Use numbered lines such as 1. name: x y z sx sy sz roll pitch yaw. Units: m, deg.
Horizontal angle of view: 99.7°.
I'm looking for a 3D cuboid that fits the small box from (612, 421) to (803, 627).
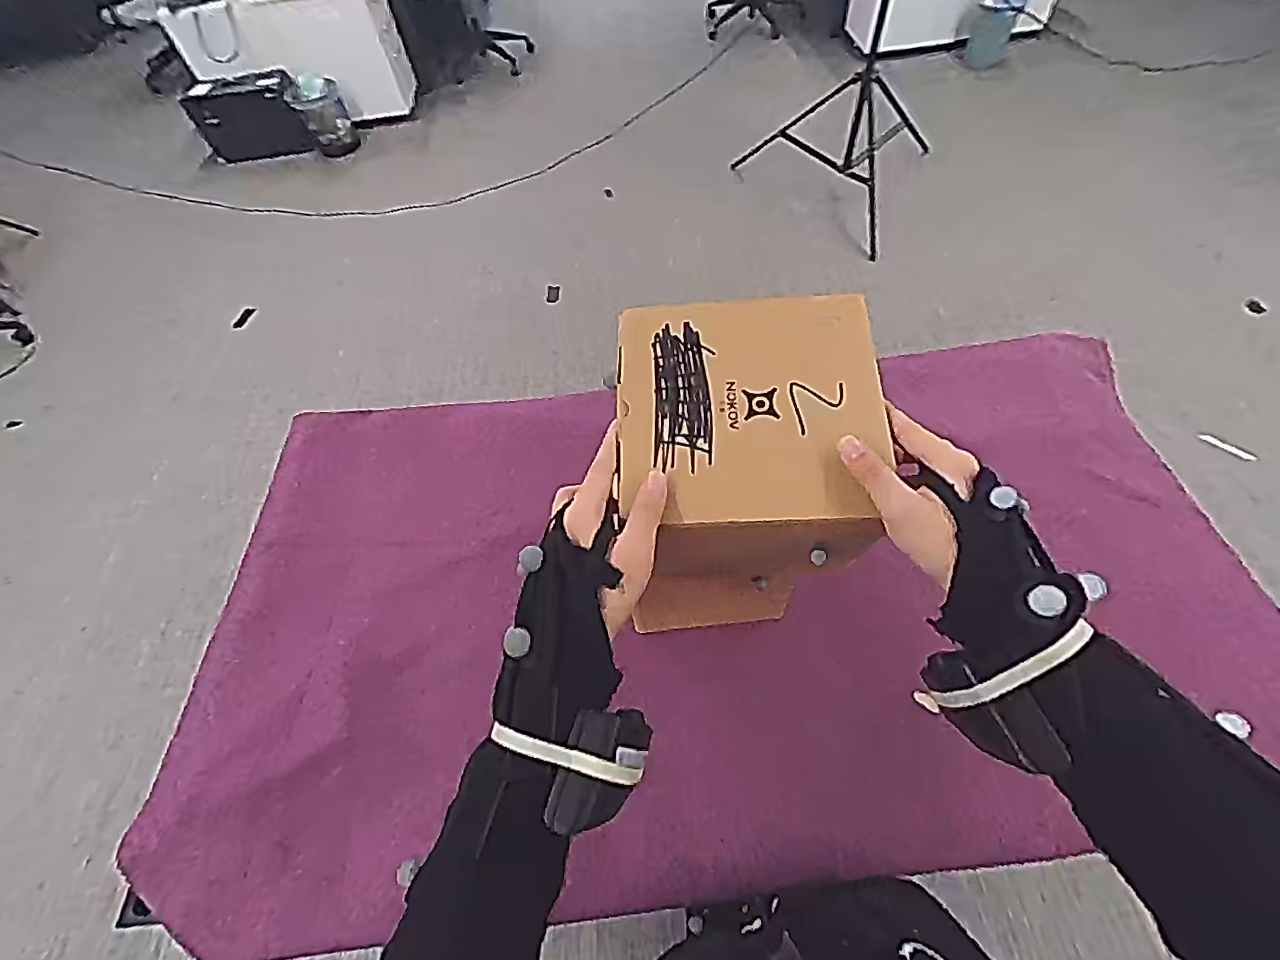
1. small box: 0.068 0.057 0.613 0.179 0.176 0.168 -6 56 1
